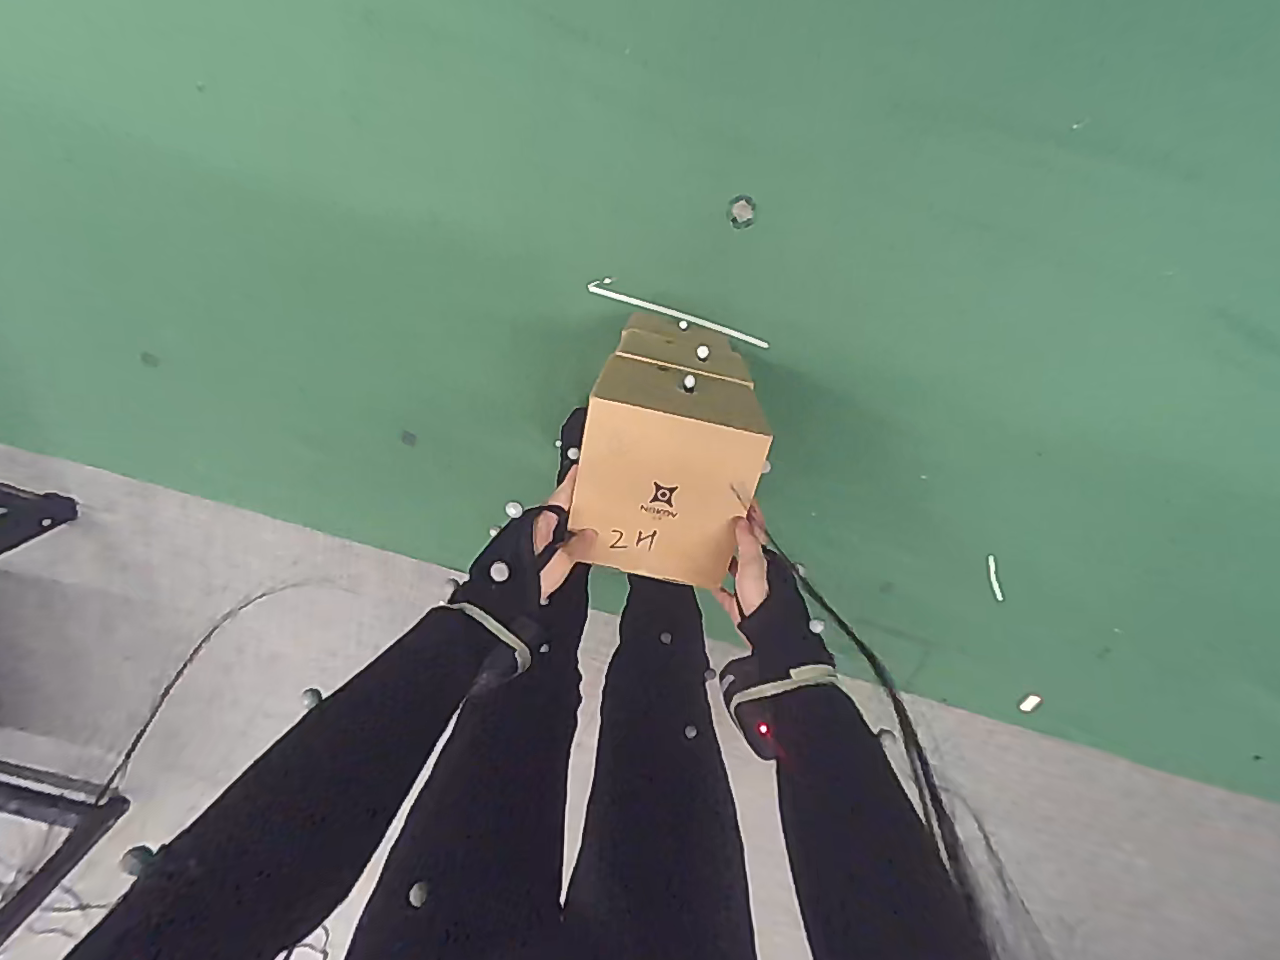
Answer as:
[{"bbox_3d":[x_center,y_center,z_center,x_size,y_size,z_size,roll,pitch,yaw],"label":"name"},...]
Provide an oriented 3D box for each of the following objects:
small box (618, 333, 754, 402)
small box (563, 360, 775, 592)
[{"bbox_3d":[0.038,-0.085,0.725,0.168,0.176,0.179,13,116,-2],"label":"small box"},{"bbox_3d":[0.025,-0.014,0.577,0.168,0.176,0.179,14,116,-2],"label":"small box"}]
